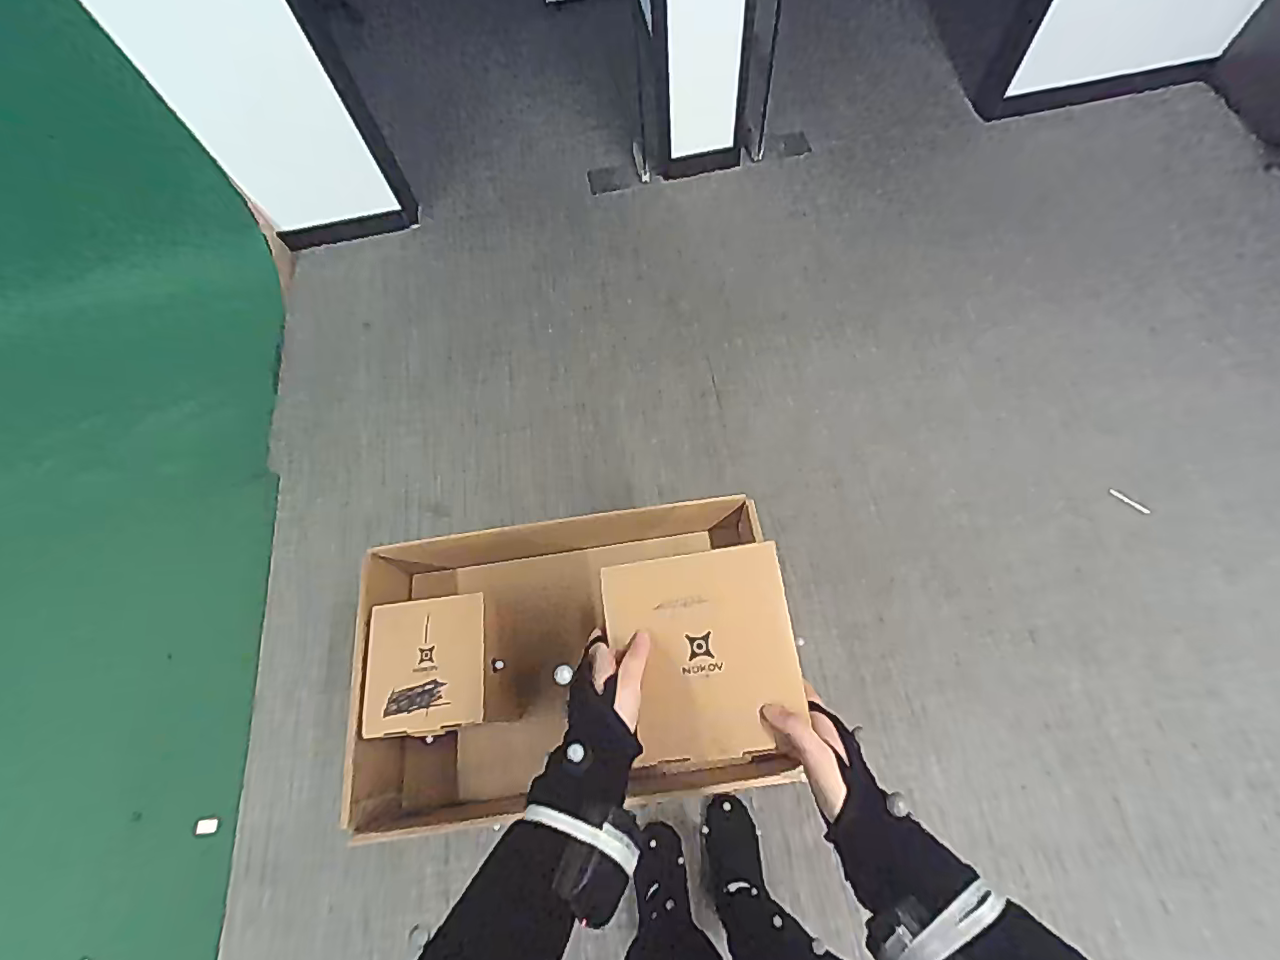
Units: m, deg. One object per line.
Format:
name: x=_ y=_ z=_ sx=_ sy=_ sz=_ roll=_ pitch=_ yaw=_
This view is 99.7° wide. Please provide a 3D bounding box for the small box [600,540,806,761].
small box: x=0.063 y=0.169 z=0.555 sx=0.168 sy=0.176 sz=0.179 roll=-9 pitch=73 yaw=6
